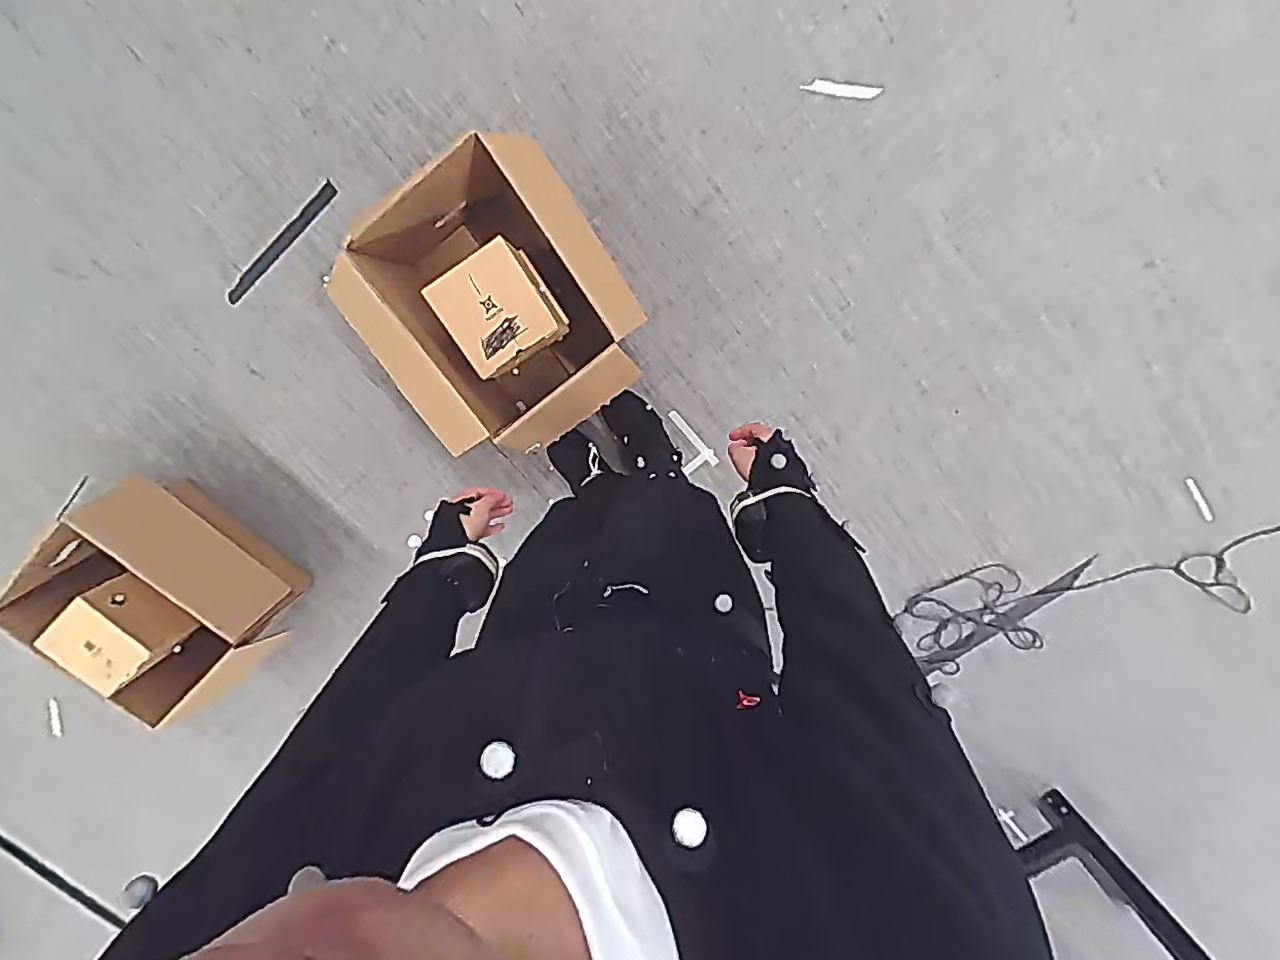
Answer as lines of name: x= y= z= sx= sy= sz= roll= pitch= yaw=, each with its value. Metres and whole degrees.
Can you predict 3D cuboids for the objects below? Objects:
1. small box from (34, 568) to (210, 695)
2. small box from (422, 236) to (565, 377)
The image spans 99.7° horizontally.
small box: x=-1.102 y=0.312 z=1.165 sx=0.168 sy=0.176 sz=0.179 roll=-40 pitch=103 yaw=11
small box: x=-0.254 y=-0.309 z=0.988 sx=0.168 sy=0.176 sz=0.179 roll=-32 pitch=101 yaw=6
